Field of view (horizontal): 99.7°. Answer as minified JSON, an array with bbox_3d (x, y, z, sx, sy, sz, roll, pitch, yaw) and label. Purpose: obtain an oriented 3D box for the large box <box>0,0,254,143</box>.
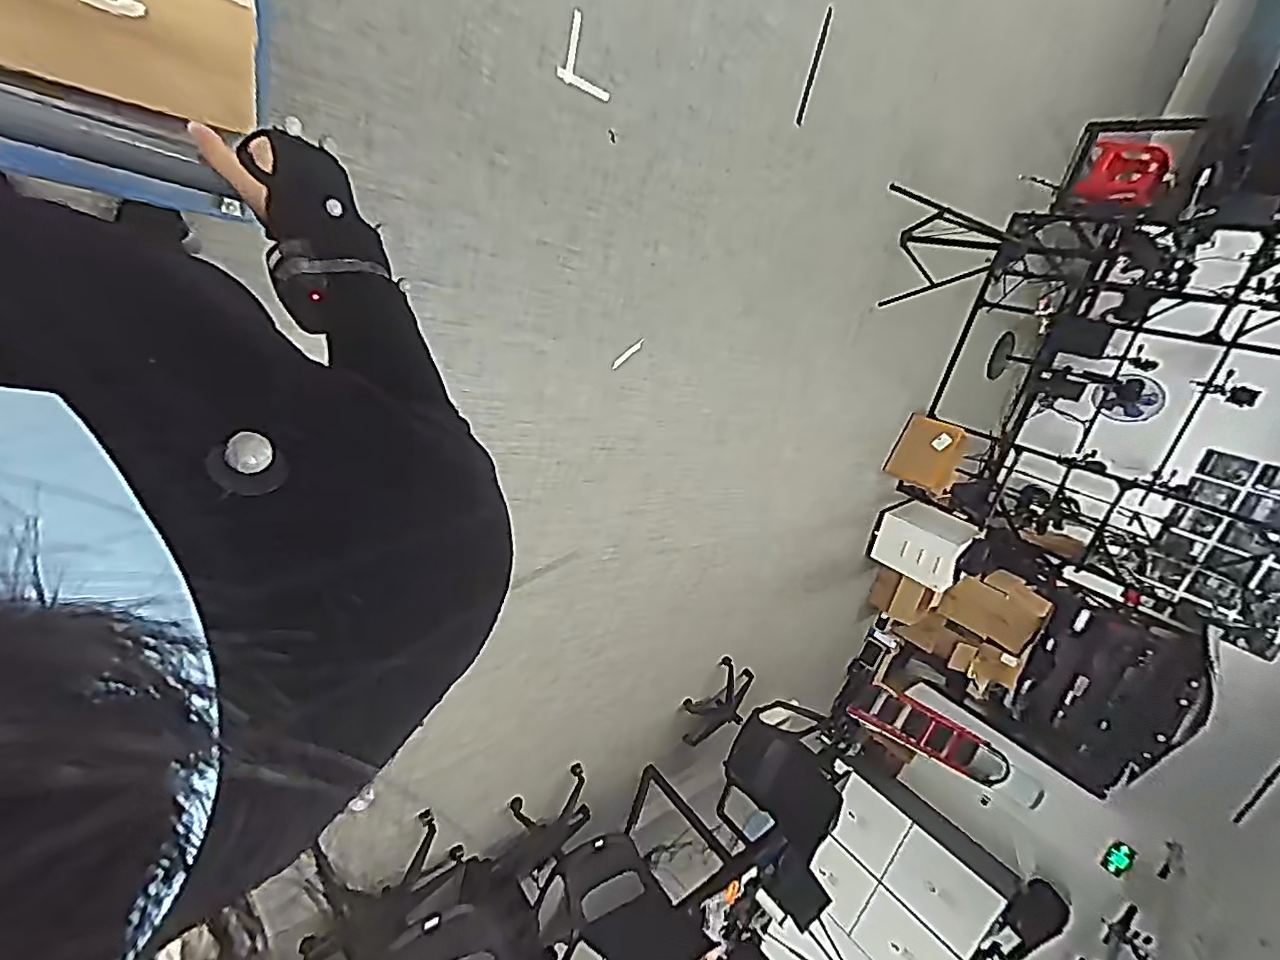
[{"bbox_3d":[-0.752,-0.649,0.660,0.408,0.320,0.320,-8,118,-43],"label":"large box"}]
